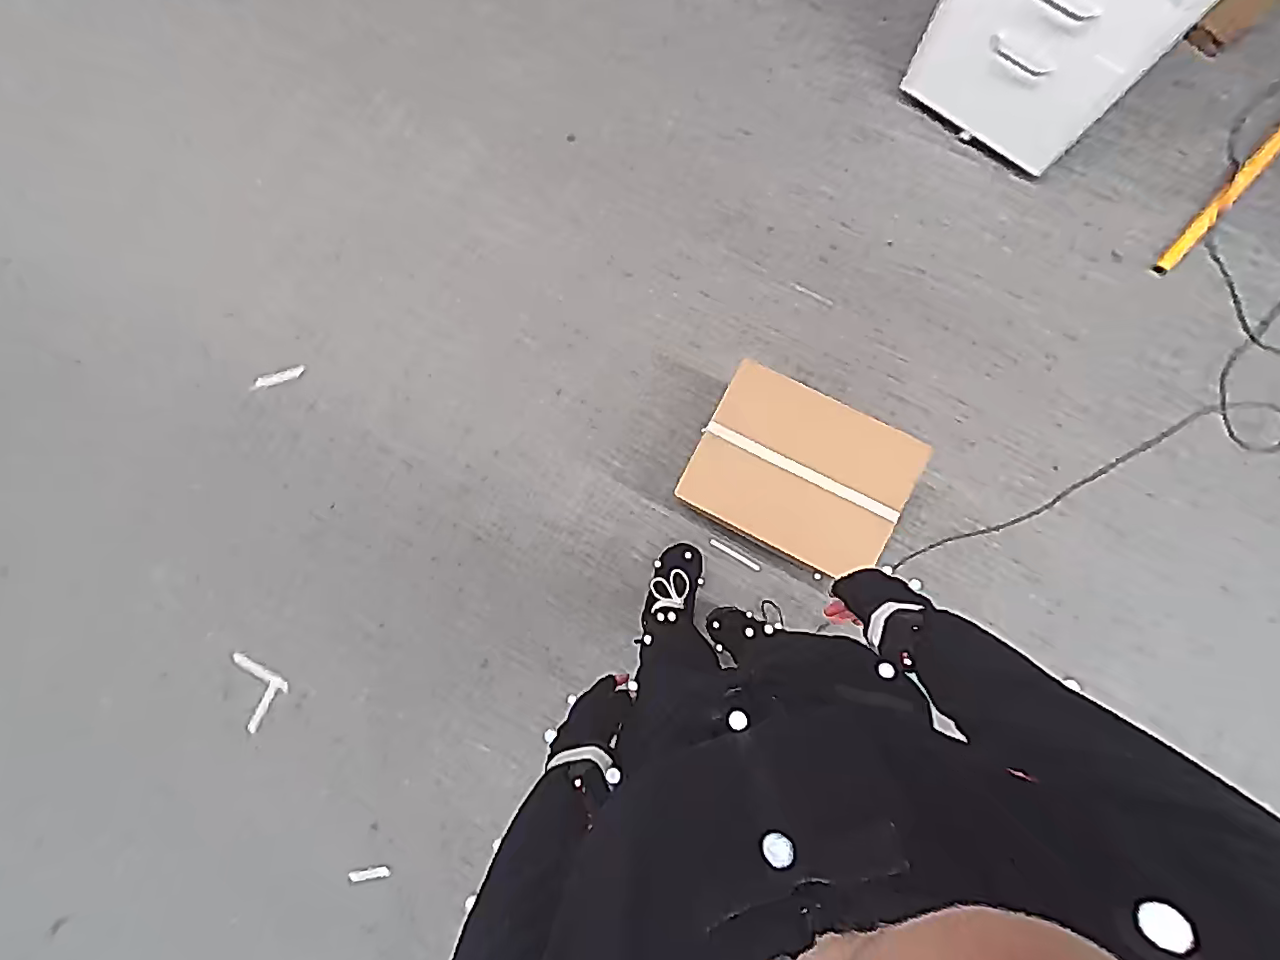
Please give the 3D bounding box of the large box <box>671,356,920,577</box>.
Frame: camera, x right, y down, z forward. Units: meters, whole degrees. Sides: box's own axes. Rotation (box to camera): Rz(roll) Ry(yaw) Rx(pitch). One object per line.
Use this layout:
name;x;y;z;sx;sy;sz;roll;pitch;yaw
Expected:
large box;0.321;-0.022;1.219;0.408;0.320;0.320;27;88;6
